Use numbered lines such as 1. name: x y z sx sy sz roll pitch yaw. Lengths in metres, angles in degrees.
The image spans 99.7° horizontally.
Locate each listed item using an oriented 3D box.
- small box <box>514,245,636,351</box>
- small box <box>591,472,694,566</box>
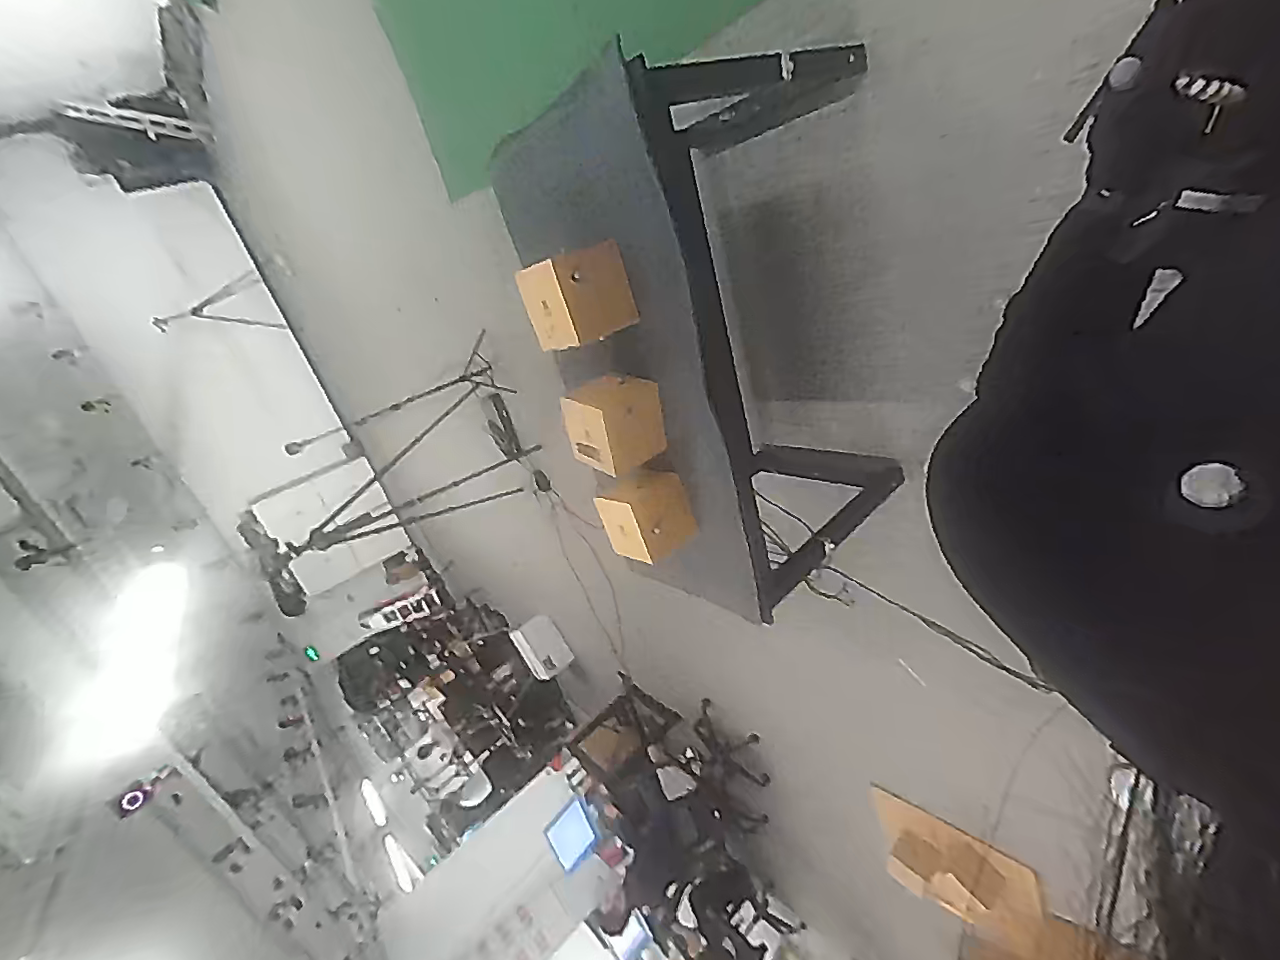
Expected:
1. small box: -0.136 -0.392 1.161 0.168 0.176 0.179 11 126 51
2. small box: 0.009 0.092 1.385 0.168 0.176 0.179 6 122 53
